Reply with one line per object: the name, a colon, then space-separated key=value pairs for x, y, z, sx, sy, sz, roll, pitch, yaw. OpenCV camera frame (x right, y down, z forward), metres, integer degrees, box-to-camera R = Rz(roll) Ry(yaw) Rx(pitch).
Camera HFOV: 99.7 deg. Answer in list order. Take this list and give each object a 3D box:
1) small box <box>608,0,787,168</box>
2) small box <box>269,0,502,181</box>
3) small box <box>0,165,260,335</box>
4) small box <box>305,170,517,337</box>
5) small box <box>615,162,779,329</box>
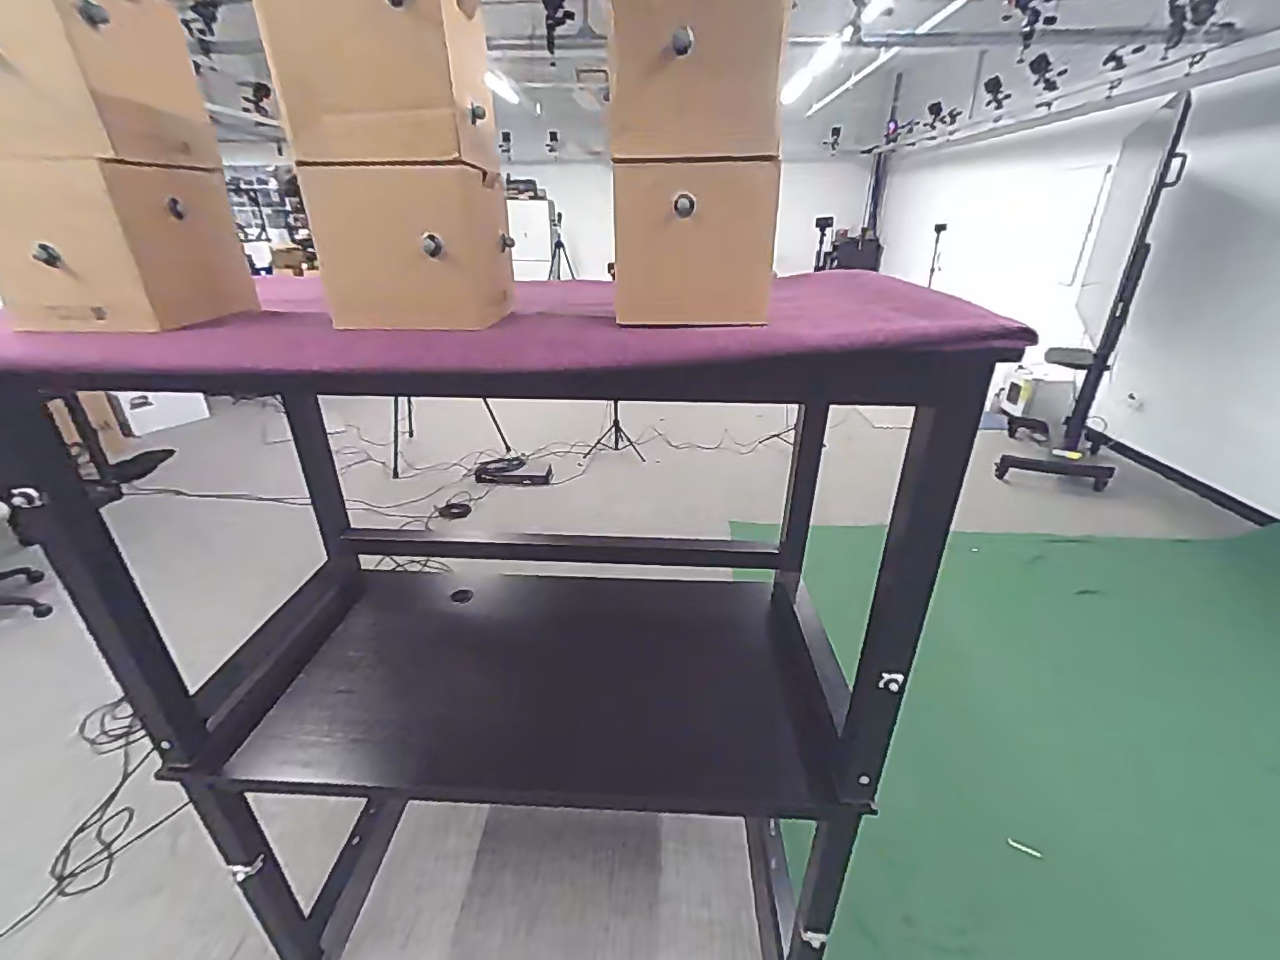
small box: x=0.063 y=-0.432 z=0.604 sx=0.179 sy=0.176 sz=0.168 roll=1 pitch=23 yaw=5
small box: x=-0.262 y=-0.422 z=0.591 sx=0.179 sy=0.176 sz=0.168 roll=0 pitch=25 yaw=0
small box: x=-0.598 y=-0.271 z=0.642 sx=0.168 sy=0.176 sz=0.179 roll=1 pitch=26 yaw=0
small box: x=-0.256 y=-0.273 z=0.658 sx=0.179 sy=0.176 sz=0.168 roll=0 pitch=24 yaw=2
small box: x=0.067 y=-0.281 z=0.668 sx=0.179 sy=0.176 sz=0.168 roll=2 pitch=23 yaw=4
